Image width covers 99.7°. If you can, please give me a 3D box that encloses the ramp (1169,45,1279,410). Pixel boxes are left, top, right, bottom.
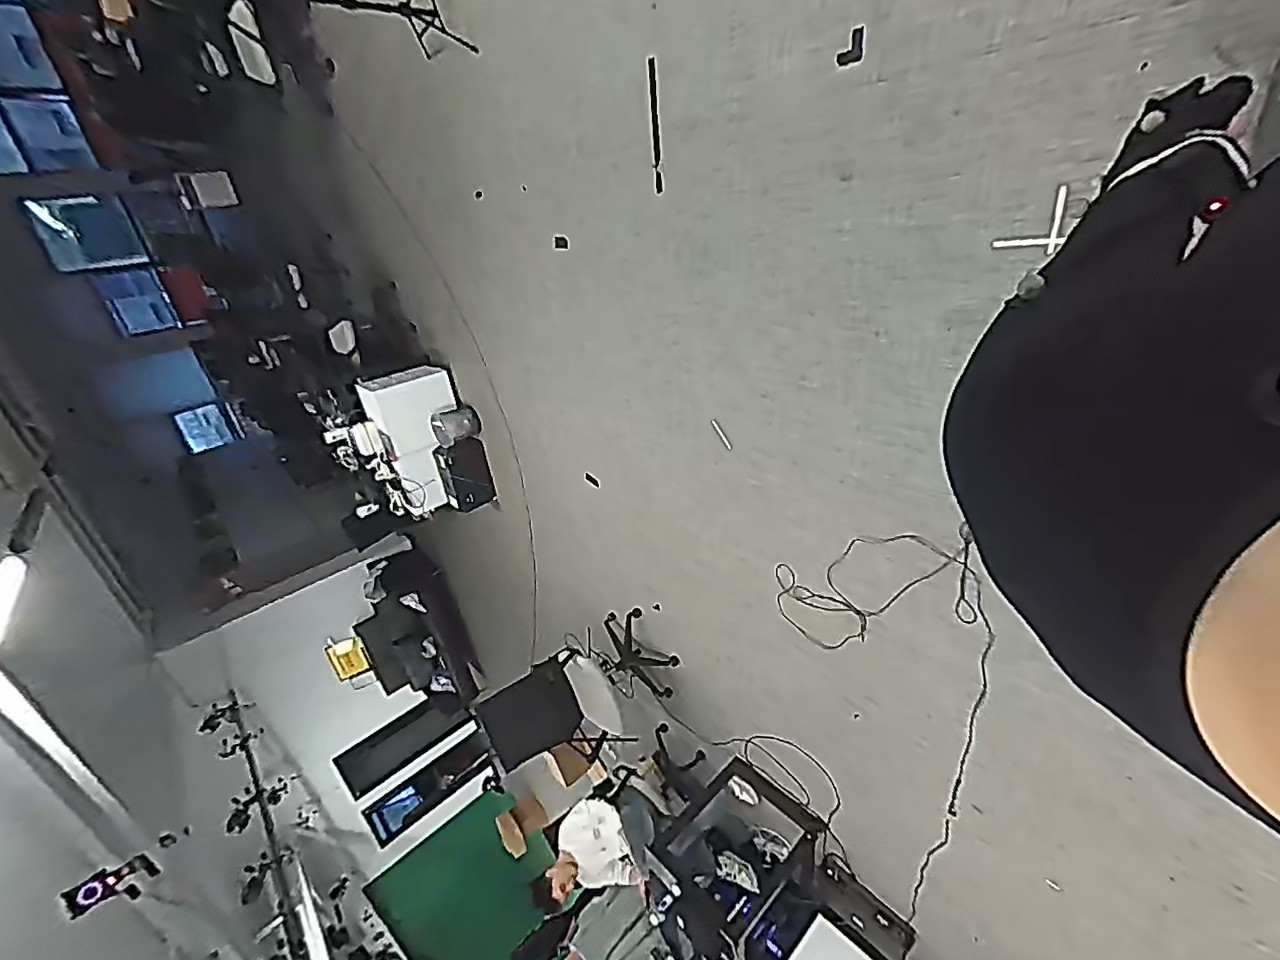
[{"bbox_3d":[1.189,-0.517,0.739,0.509,0.206,0.991,19,127,44],"label":"ramp"}]
